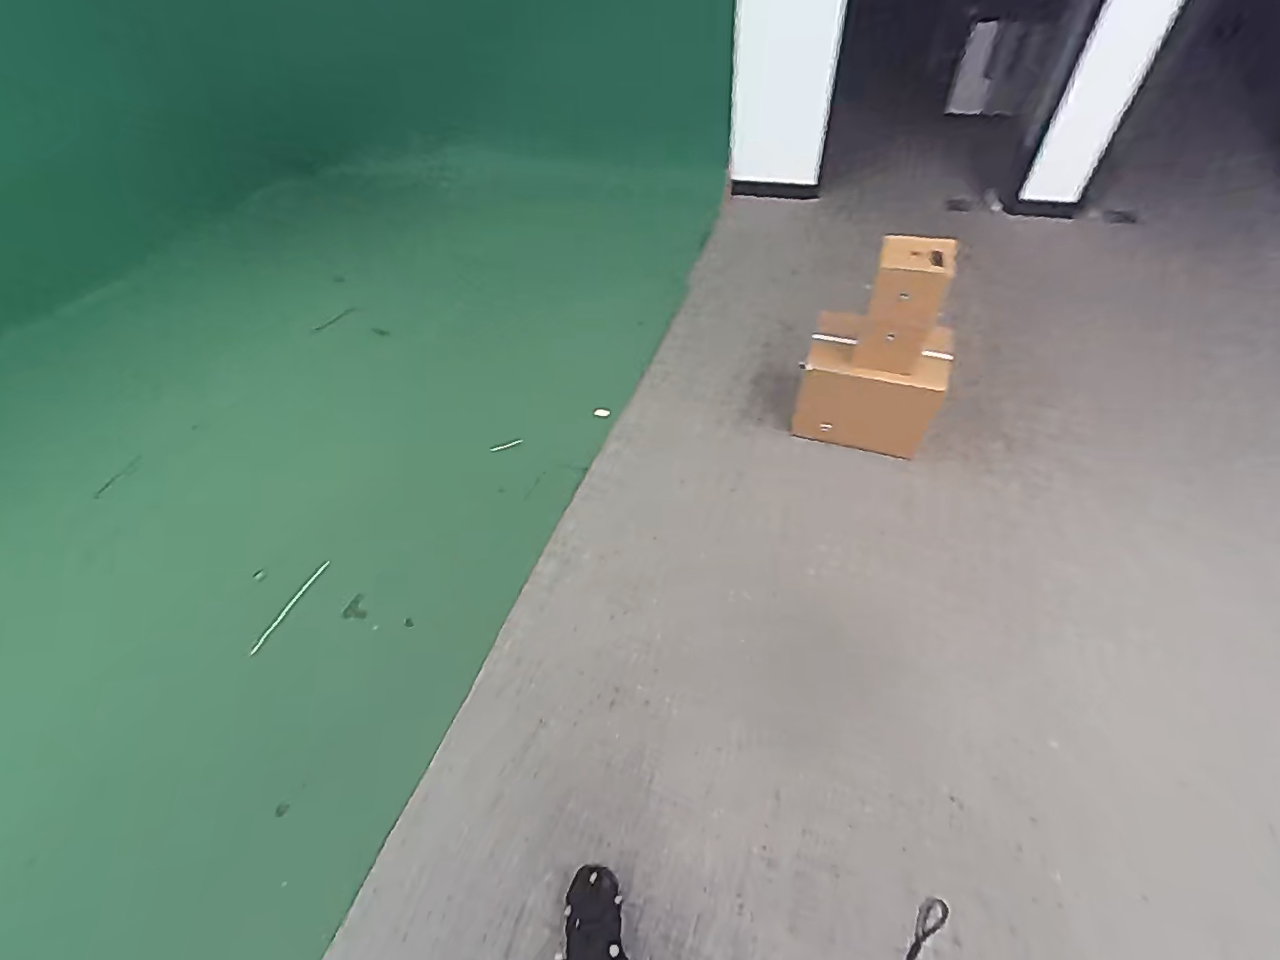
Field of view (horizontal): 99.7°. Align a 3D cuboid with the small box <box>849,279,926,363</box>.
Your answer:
[{"bbox_3d":[0.725,-0.466,1.591,0.179,0.176,0.168,13,56,15],"label":"small box"}]

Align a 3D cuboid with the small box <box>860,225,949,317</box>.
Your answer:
[{"bbox_3d":[0.710,-0.561,1.458,0.179,0.176,0.168,12,56,18],"label":"small box"}]
